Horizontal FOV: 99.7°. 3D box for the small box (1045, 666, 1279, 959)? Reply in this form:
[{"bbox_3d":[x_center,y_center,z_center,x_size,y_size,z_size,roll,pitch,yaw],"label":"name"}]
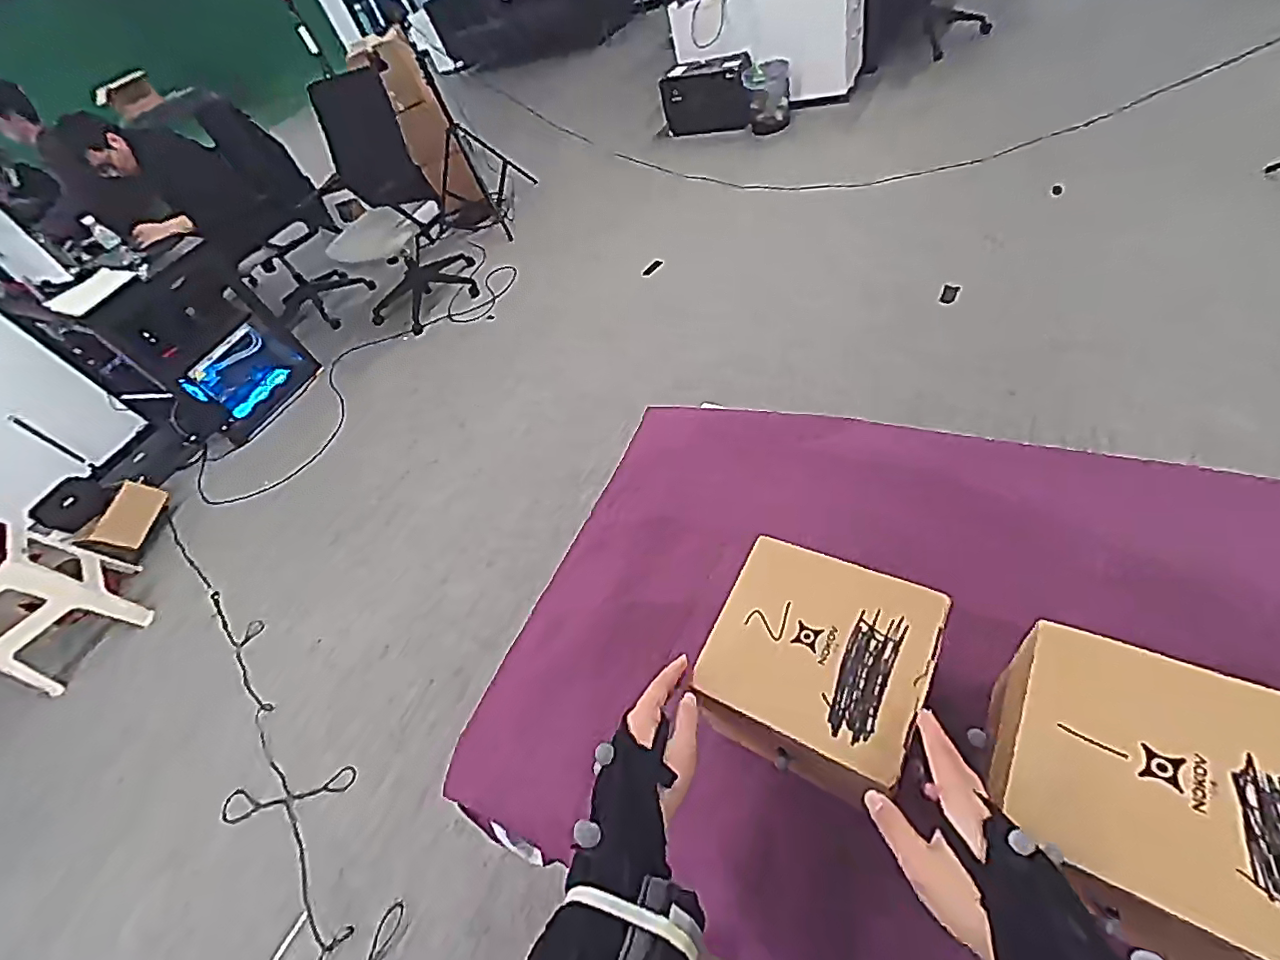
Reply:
[{"bbox_3d":[0.418,0.241,0.374,0.179,0.176,0.168,-5,91,22],"label":"small box"}]
